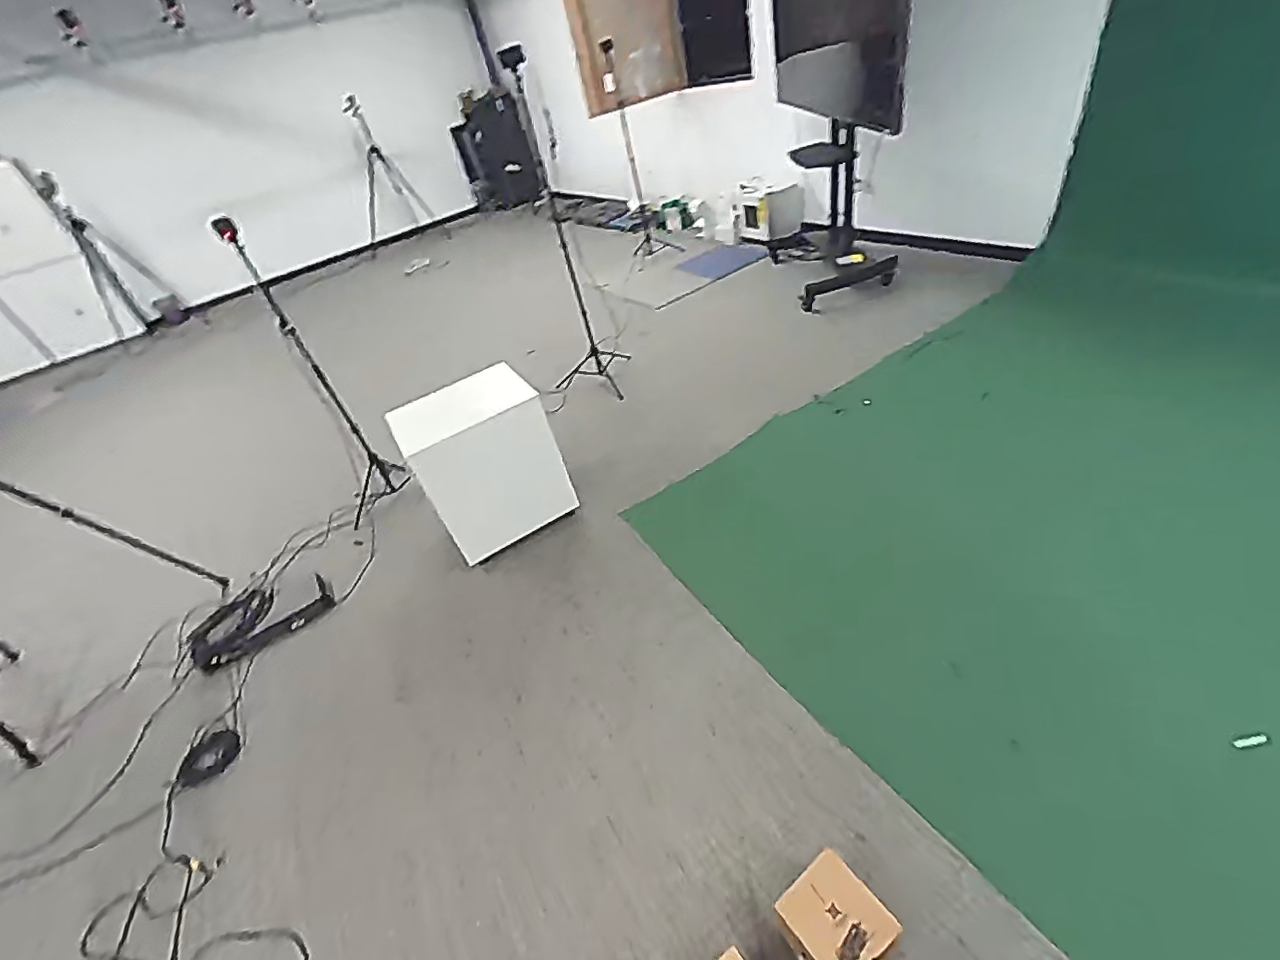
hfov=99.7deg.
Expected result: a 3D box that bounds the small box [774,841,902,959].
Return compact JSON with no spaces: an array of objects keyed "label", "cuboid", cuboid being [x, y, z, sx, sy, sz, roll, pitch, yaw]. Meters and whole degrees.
[{"label":"small box","cuboid":[0.396,0.887,1.091,0.168,0.176,0.179,-32,41,-20]}]
